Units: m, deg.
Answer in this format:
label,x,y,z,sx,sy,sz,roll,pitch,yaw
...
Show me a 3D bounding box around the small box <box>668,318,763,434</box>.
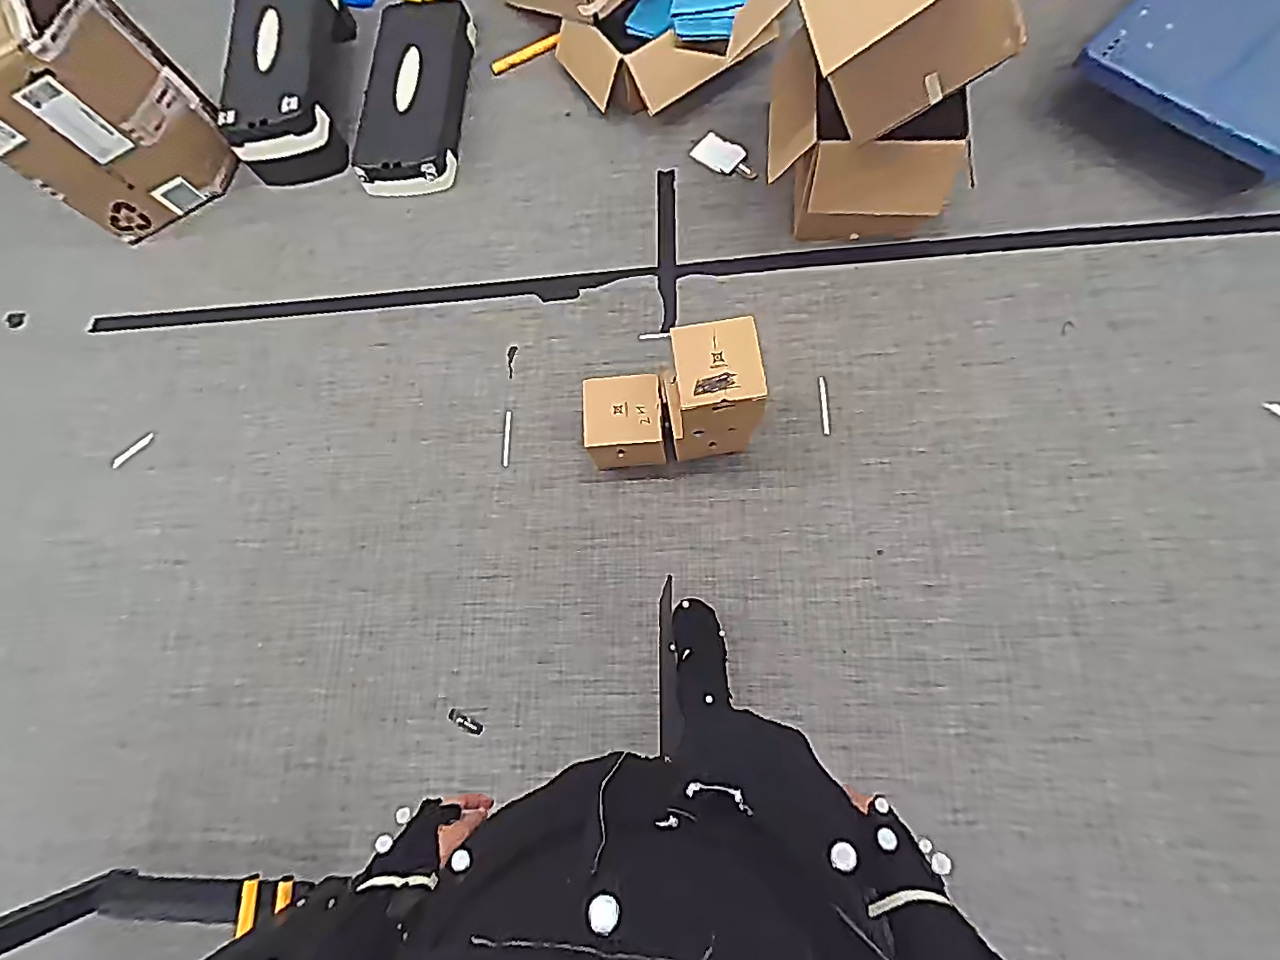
label,x,y,z,sx,sy,sz,roll,pitch,yaw
small box,0.152,-0.203,1.111,0.168,0.176,0.179,-8,74,4
